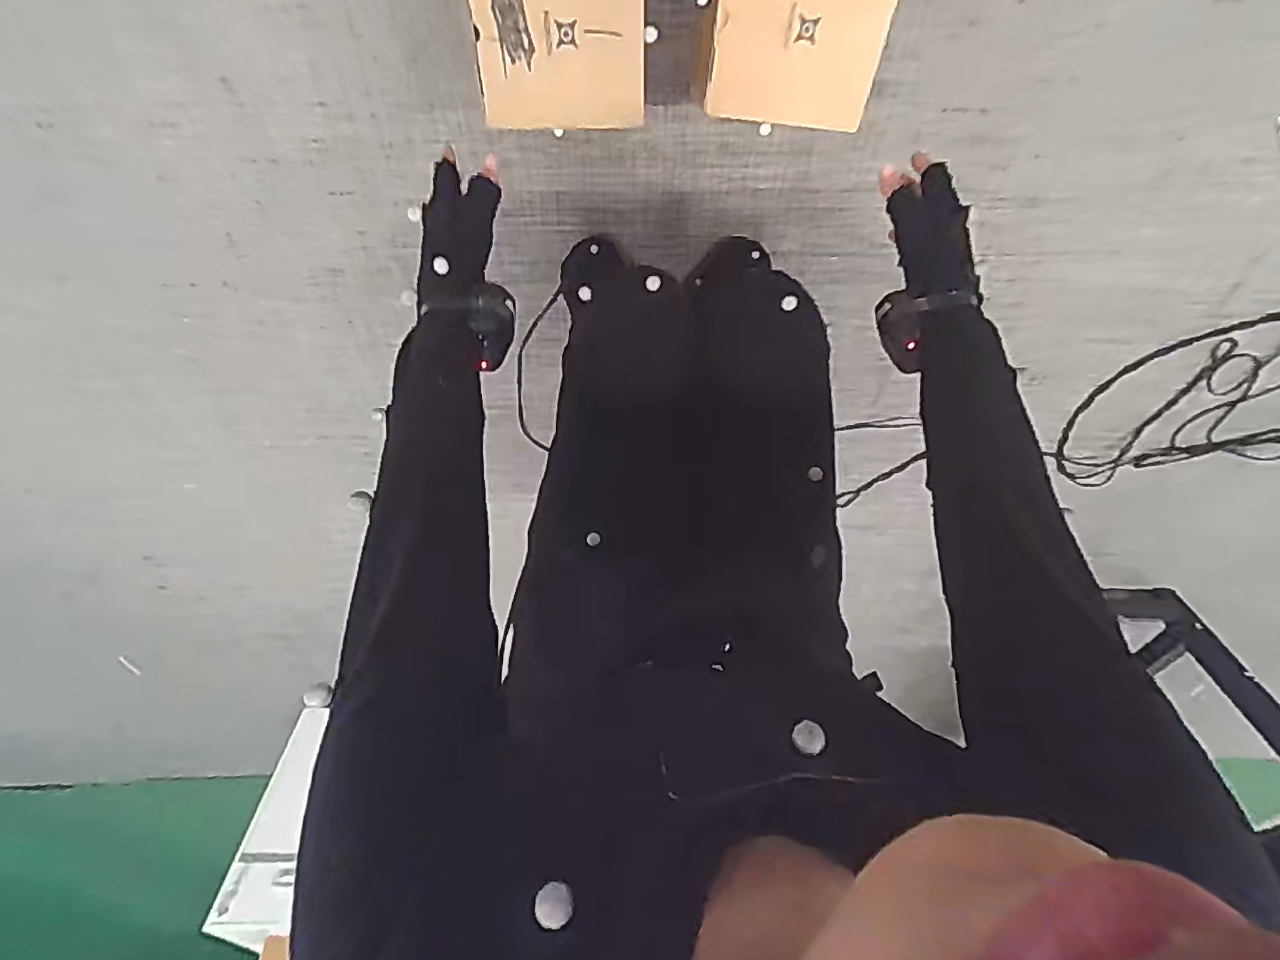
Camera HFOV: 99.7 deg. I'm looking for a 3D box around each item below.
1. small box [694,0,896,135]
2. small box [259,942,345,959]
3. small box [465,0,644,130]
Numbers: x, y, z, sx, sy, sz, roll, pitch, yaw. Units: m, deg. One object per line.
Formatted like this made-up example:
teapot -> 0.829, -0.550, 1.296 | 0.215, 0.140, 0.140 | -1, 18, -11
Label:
small box -> 0.162, -0.504, 0.602 | 0.179, 0.176, 0.168 | 4, 132, -3
small box -> -0.878, 1.287, 1.360 | 0.179, 0.176, 0.168 | 7, 131, -7
small box -> -0.084, -0.499, 0.602 | 0.179, 0.176, 0.168 | -1, 132, -1
